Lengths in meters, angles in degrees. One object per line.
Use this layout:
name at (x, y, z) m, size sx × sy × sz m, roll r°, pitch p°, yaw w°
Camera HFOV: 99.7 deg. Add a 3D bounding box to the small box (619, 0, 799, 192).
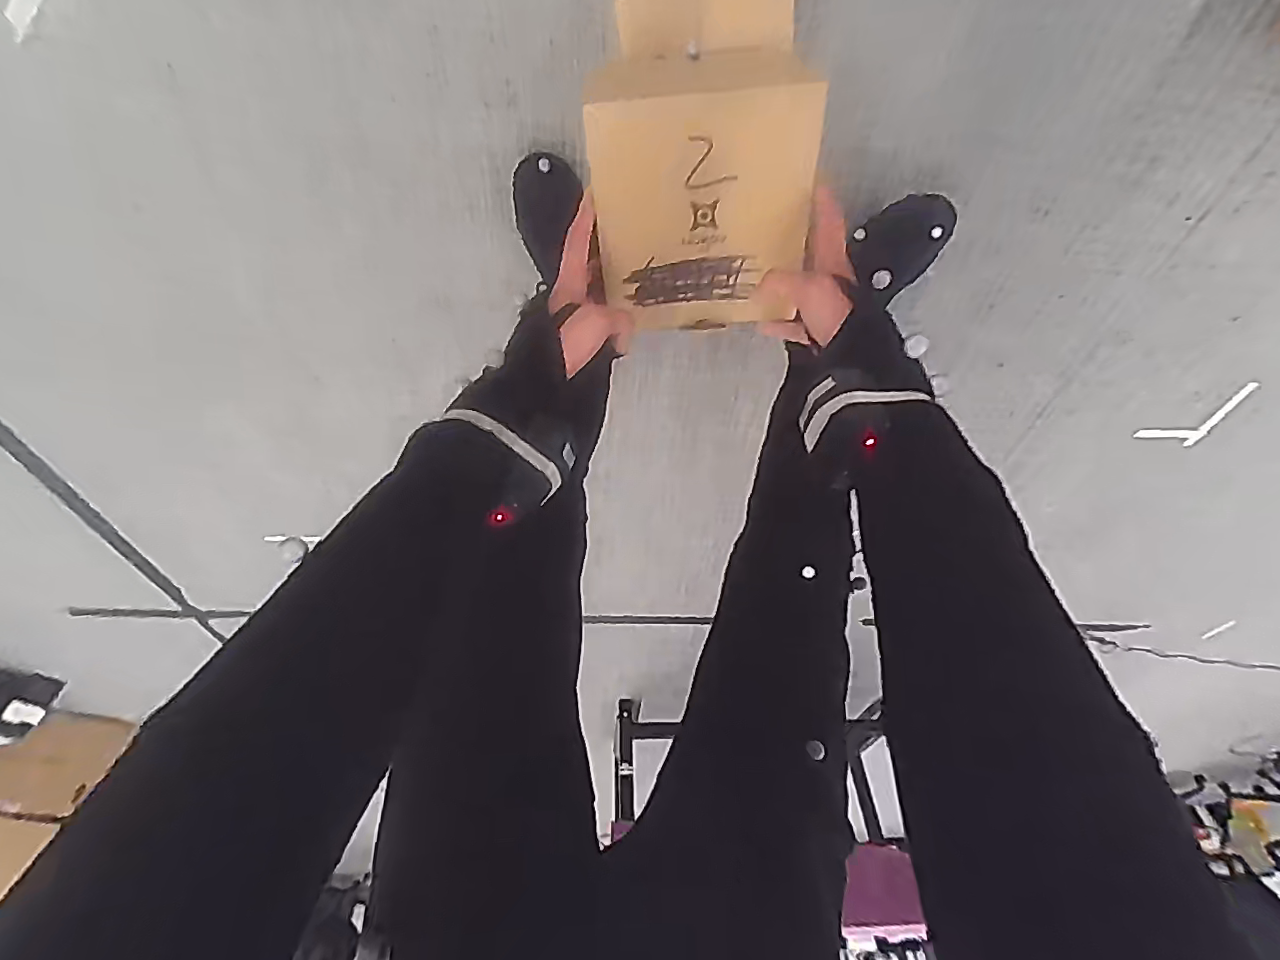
small box at (0.071, -0.453, 0.597) m, size 0.168 × 0.176 × 0.179 m, roll -8°, pitch 138°, yaw 6°
